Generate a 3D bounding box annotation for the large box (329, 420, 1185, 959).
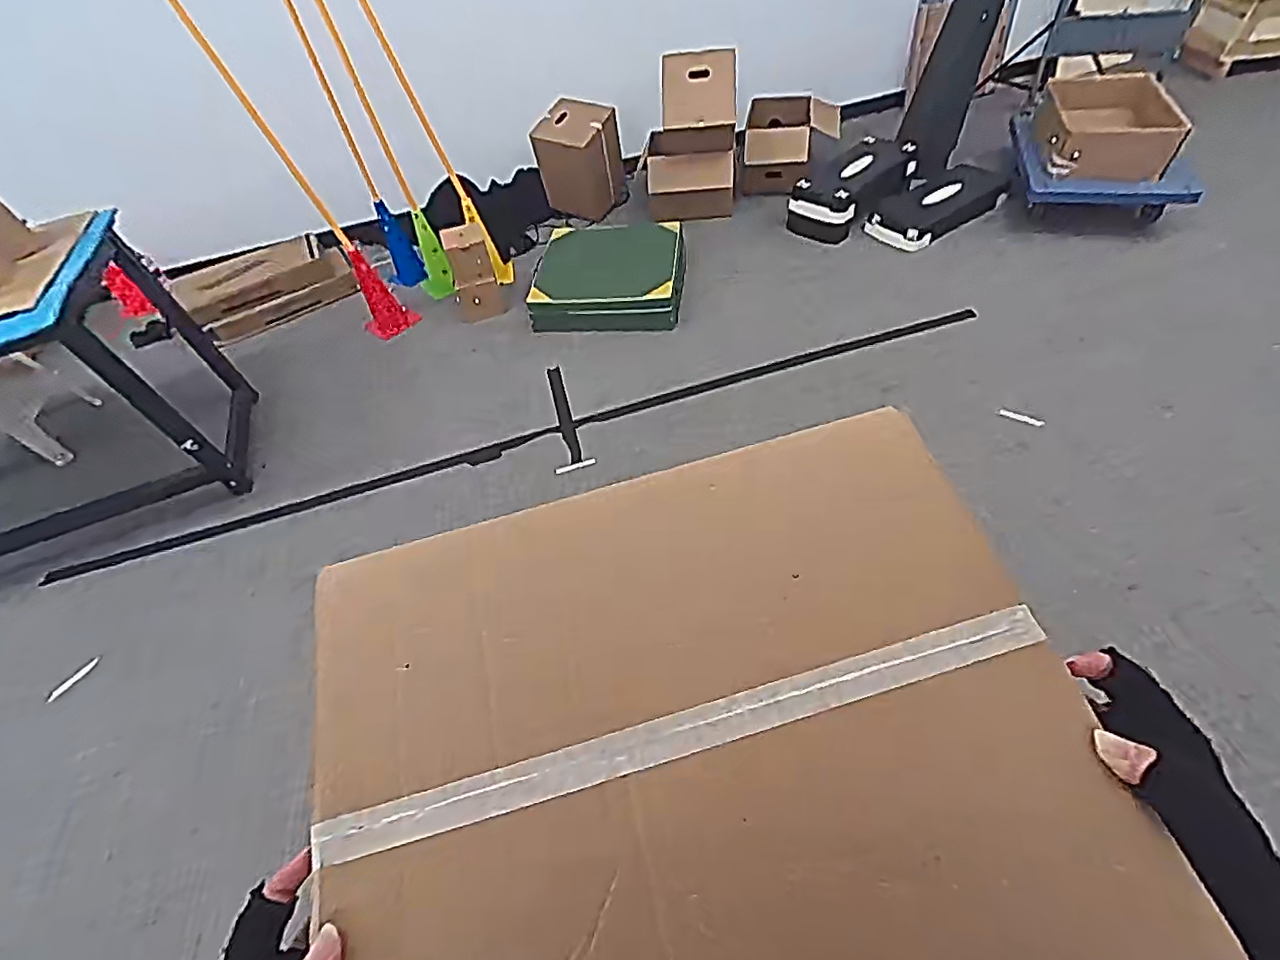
[{"bbox_3d":[0.038,0.207,0.436,0.408,0.320,0.320,-16,61,-2],"label":"large box"}]
